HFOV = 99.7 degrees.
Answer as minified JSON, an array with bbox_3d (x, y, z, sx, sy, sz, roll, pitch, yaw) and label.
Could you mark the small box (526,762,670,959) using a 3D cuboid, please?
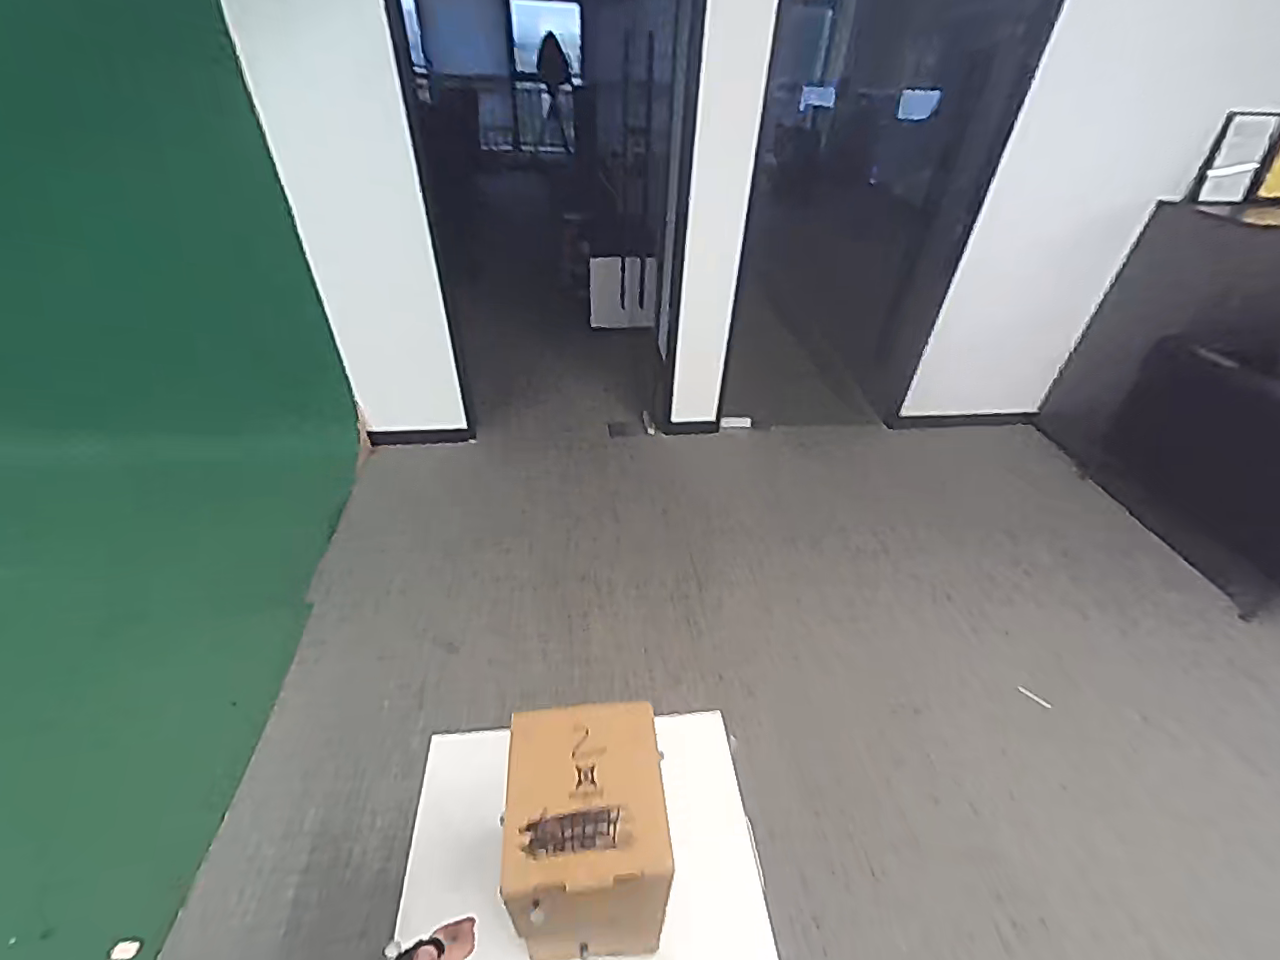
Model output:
[{"bbox_3d":[-0.055,0.506,0.720,0.168,0.176,0.179,-1,38,-4],"label":"small box"}]
